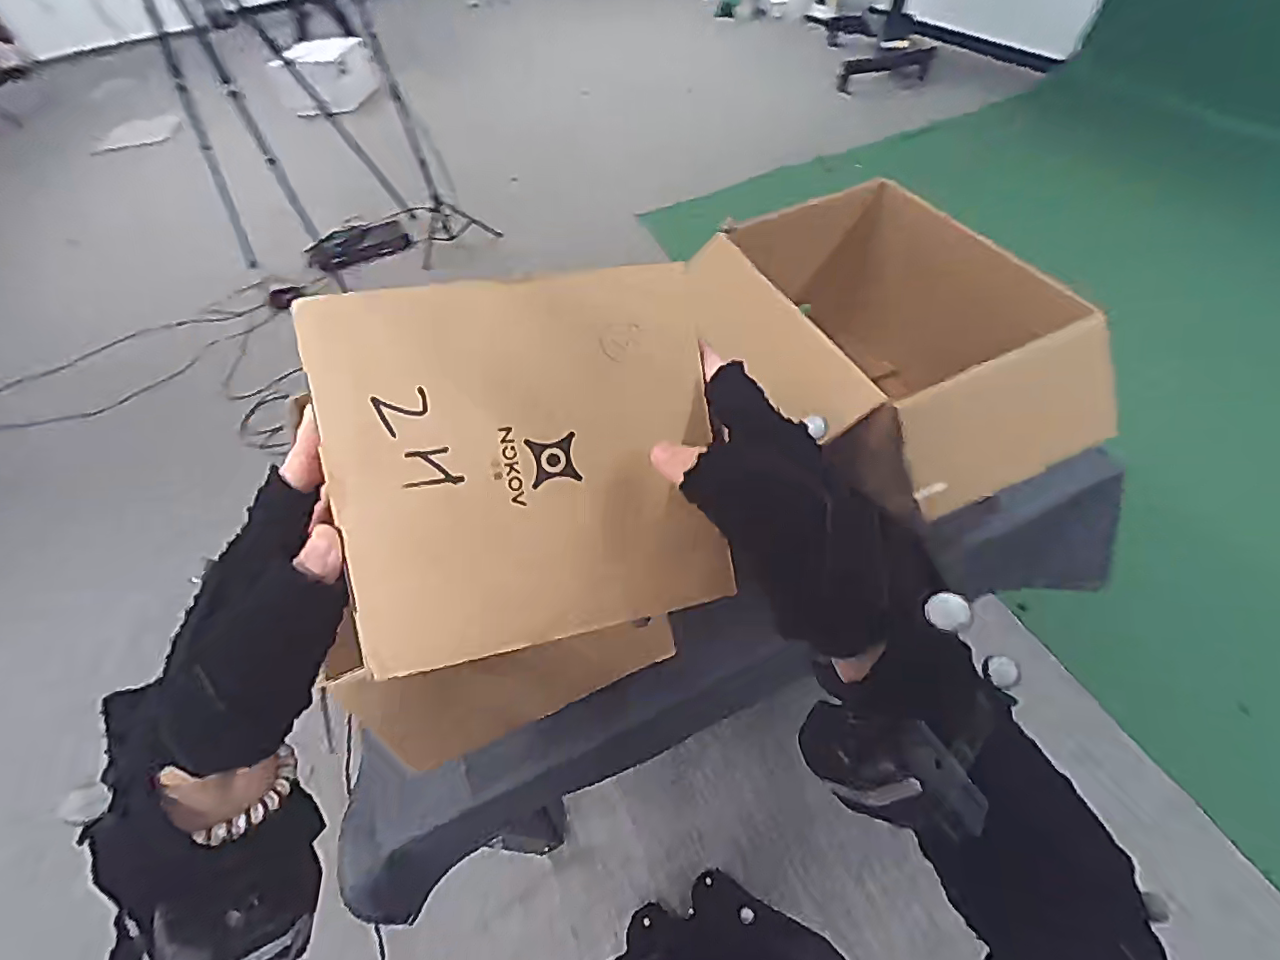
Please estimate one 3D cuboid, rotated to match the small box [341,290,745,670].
[{"bbox_3d":[-0.056,-0.007,0.334,0.179,0.176,0.168,-8,93,-12],"label":"small box"}]
